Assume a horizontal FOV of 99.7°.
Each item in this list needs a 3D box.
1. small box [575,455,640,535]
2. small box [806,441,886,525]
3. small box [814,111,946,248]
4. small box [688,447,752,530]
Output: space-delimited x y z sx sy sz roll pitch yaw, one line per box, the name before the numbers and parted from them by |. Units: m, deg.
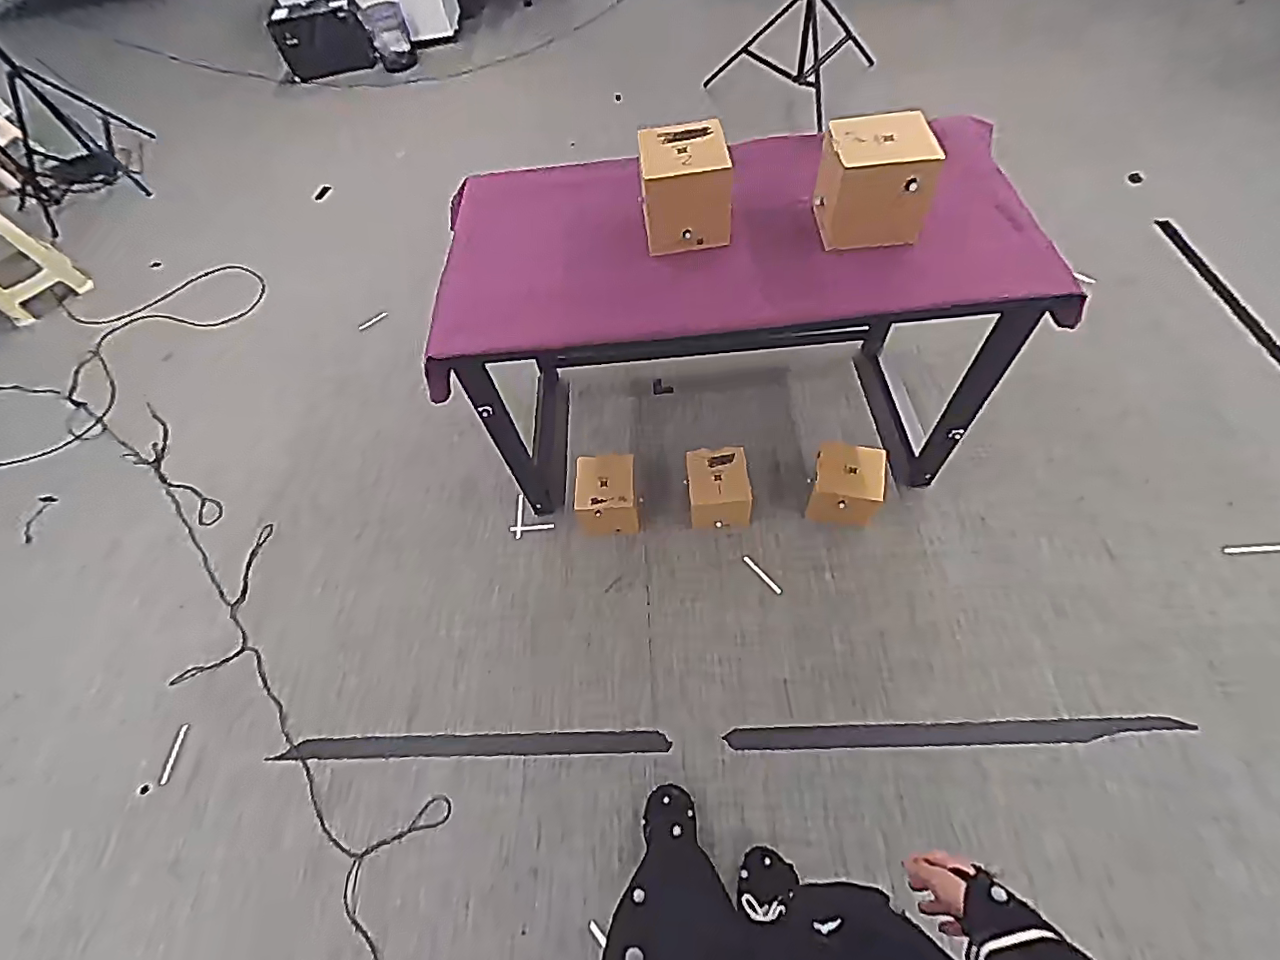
small box | -0.090 0.046 1.594 0.168 0.176 0.179 -3 57 5
small box | 0.580 0.014 1.531 0.179 0.176 0.168 10 61 14
small box | 0.450 -0.574 1.044 0.179 0.176 0.168 -3 58 6
small box | 0.225 0.027 1.565 0.168 0.176 0.179 -5 59 4
